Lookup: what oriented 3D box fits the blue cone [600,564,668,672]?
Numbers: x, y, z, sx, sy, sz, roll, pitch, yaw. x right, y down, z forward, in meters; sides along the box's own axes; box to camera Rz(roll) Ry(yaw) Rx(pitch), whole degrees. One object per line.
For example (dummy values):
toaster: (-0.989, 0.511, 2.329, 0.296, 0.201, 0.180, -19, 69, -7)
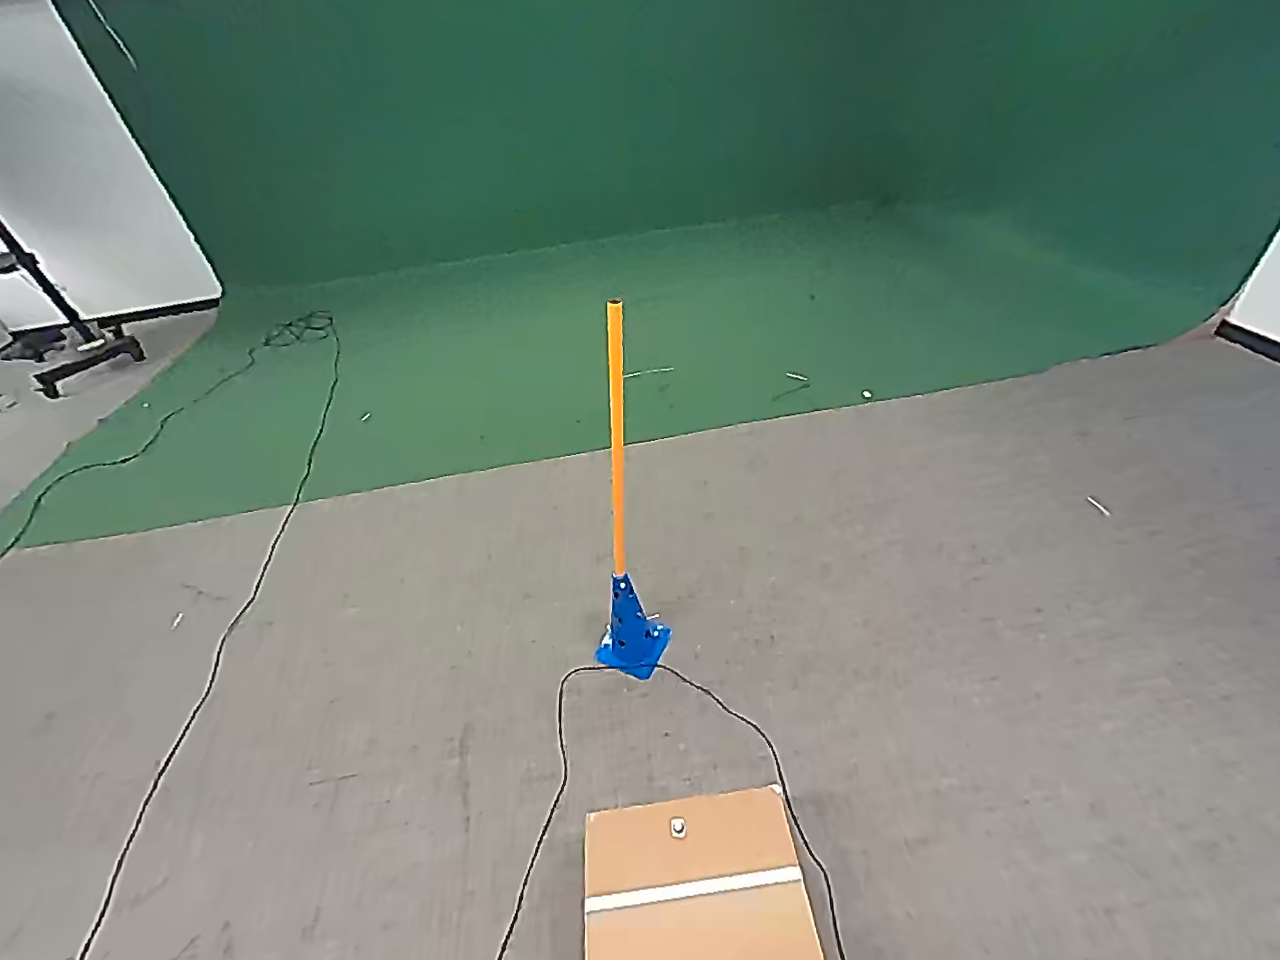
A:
blue cone: (-0.035, 0.389, 1.632, 0.192, 0.380, 0.193, 13, 43, 22)
